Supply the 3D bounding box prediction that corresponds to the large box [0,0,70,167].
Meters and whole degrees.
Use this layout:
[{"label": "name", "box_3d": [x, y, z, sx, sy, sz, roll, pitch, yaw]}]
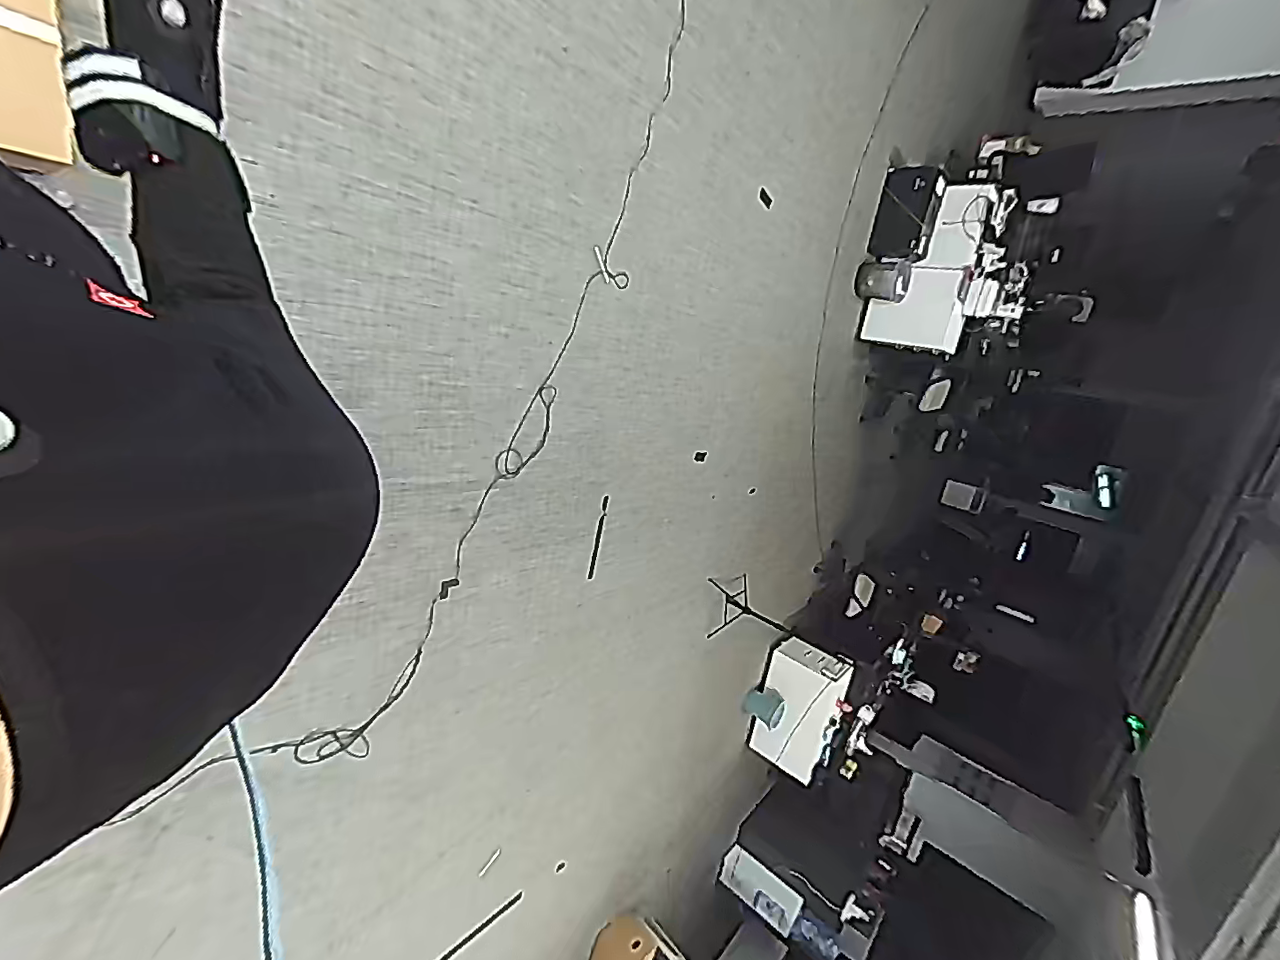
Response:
[{"label": "large box", "box_3d": [-1.034, -0.625, 0.669, 0.408, 0.320, 0.320, -9, 115, -51]}]
